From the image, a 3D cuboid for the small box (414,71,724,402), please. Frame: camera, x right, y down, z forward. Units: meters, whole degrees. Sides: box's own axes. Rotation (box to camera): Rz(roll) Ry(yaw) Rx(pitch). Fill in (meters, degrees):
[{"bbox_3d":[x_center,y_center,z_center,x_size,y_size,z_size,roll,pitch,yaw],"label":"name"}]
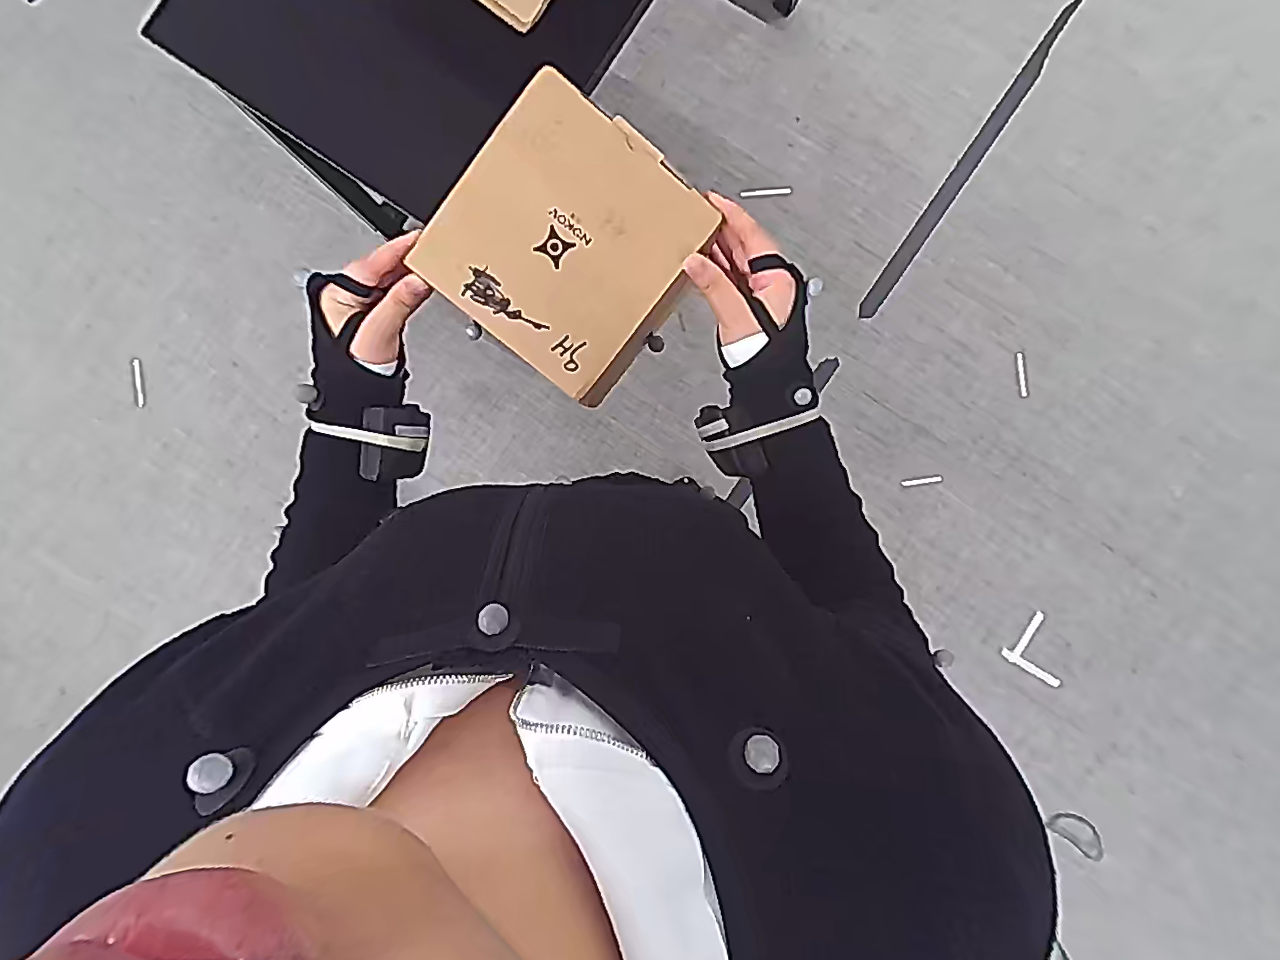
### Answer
[{"bbox_3d":[-0.055,-0.187,0.478,0.168,0.176,0.179,39,94,-4],"label":"small box"}]
